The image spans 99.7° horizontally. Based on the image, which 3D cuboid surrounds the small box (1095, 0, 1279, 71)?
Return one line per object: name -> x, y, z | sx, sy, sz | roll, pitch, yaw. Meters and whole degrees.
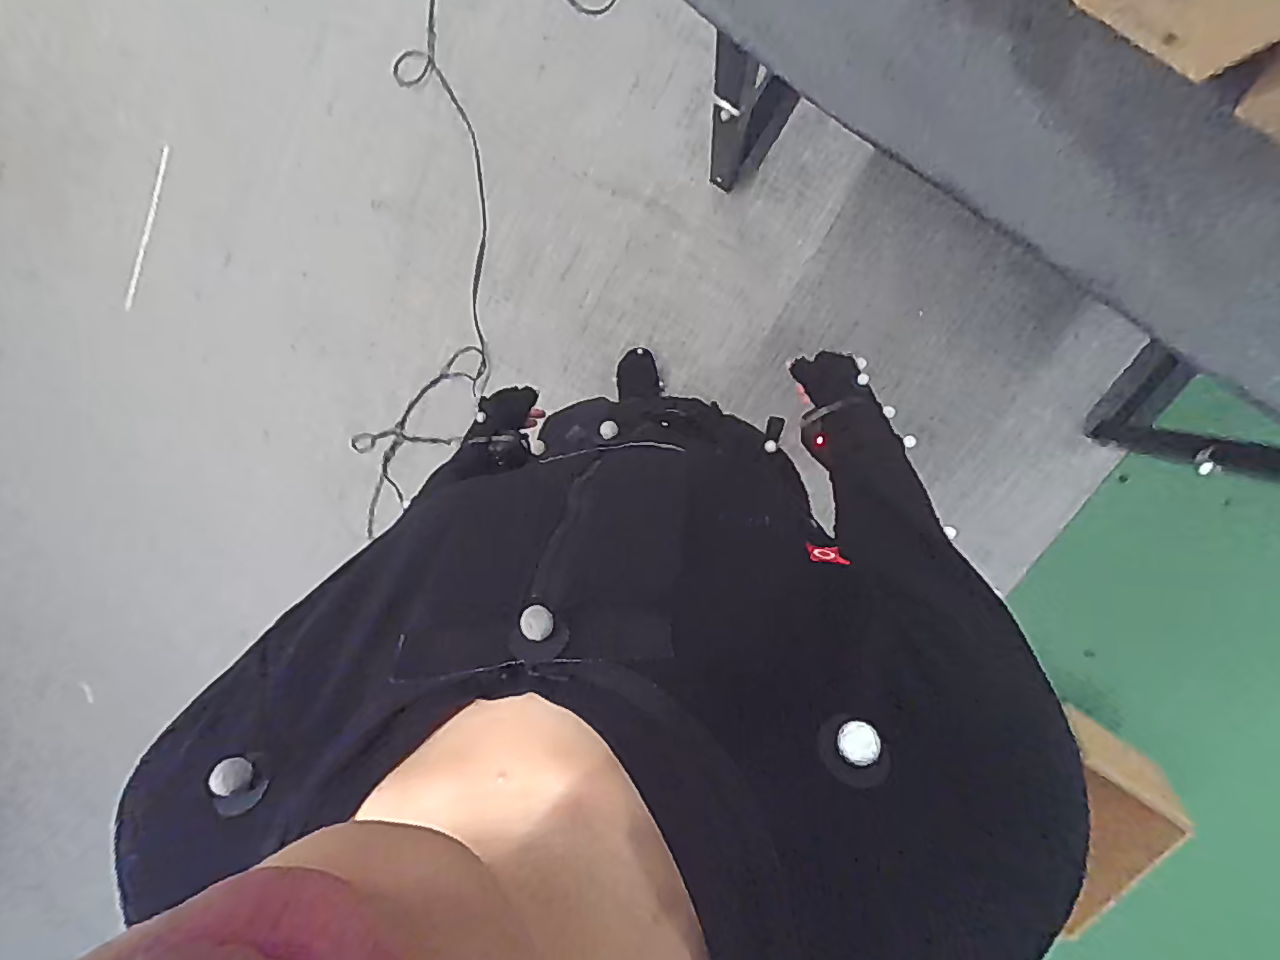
small box -> 0.557, -0.518, 0.474 | 0.168, 0.176, 0.179 | 31, 103, -1
